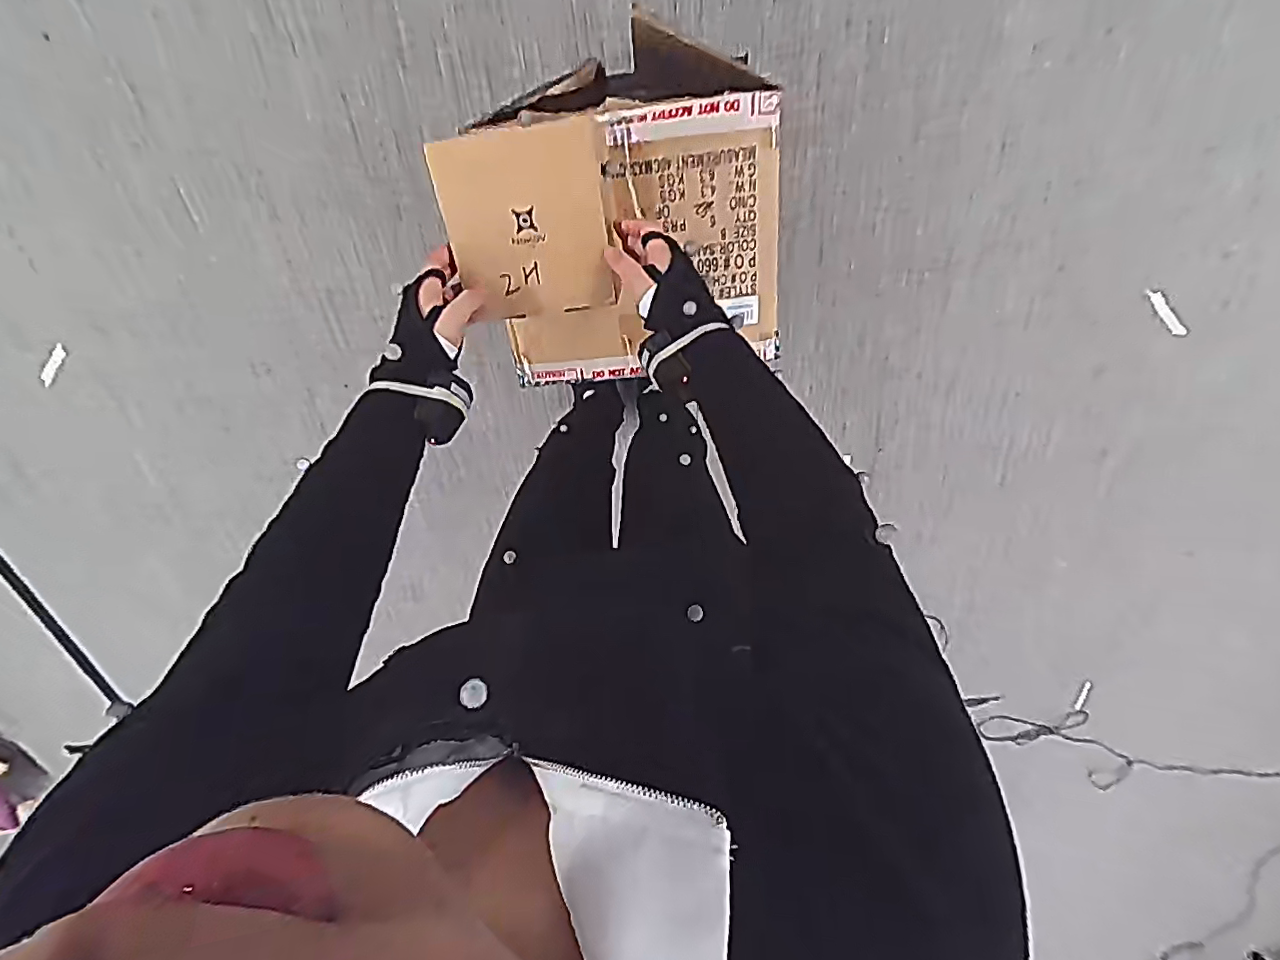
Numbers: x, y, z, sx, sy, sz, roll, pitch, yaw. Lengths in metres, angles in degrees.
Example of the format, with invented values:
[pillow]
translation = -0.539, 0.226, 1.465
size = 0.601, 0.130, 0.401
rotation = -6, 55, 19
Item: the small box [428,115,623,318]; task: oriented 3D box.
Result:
[small box]
translation = -0.114, -0.304, 0.626
size = 0.168, 0.176, 0.179
rotation = -6, 122, 5
